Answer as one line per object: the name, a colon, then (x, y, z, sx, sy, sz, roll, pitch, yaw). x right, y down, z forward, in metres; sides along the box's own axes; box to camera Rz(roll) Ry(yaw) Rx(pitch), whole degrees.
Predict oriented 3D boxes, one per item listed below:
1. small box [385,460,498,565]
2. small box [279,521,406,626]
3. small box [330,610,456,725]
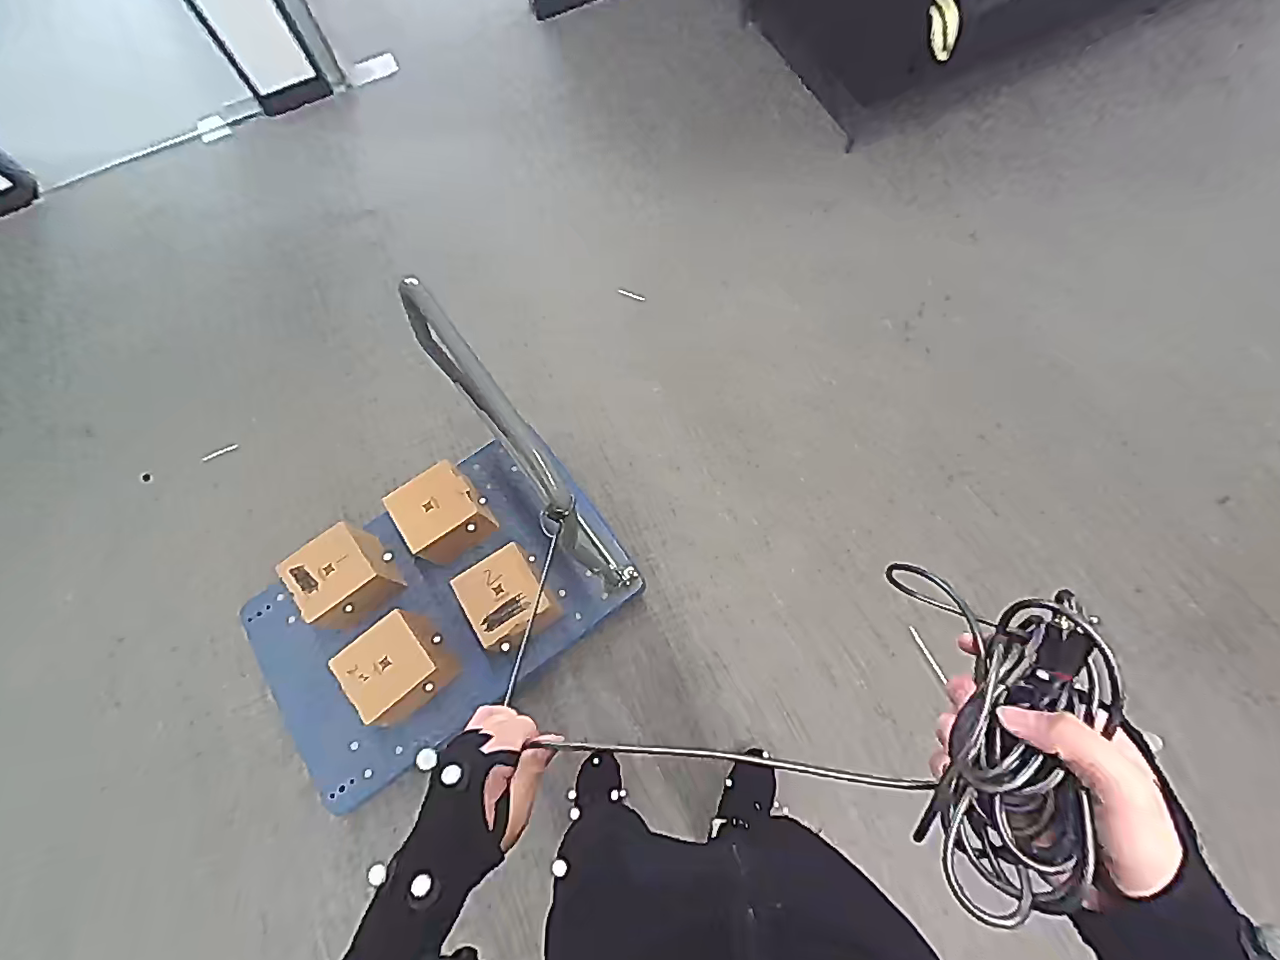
small box: (-0.481, 0.087, 1.329, 0.179, 0.176, 0.168, -34, 72, -10)
small box: (-0.698, 0.229, 1.286, 0.179, 0.176, 0.168, -37, 73, -10)
small box: (-0.538, 0.416, 1.211, 0.179, 0.176, 0.168, -39, 72, -10)
